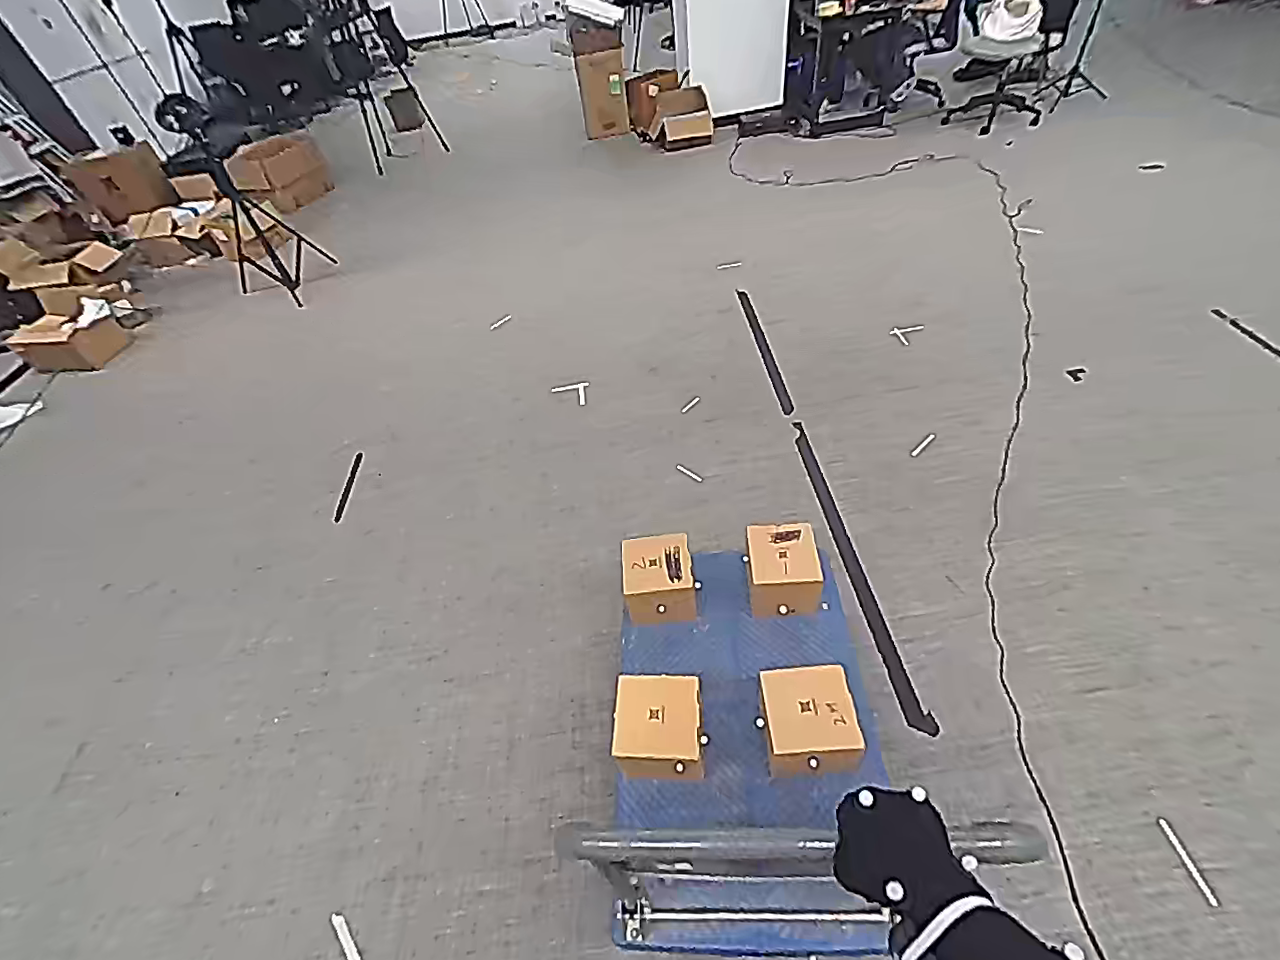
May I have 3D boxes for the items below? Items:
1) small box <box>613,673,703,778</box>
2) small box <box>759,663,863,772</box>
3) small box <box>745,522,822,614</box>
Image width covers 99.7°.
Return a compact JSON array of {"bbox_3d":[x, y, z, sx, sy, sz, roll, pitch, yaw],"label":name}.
[{"bbox_3d":[0.046,0.537,1.178,0.179,0.176,0.168,-2,47,6],"label":"small box"},{"bbox_3d":[0.352,0.509,1.148,0.179,0.176,0.168,-6,47,5],"label":"small box"},{"bbox_3d":[0.364,0.230,1.402,0.168,0.176,0.179,-4,49,7],"label":"small box"}]
